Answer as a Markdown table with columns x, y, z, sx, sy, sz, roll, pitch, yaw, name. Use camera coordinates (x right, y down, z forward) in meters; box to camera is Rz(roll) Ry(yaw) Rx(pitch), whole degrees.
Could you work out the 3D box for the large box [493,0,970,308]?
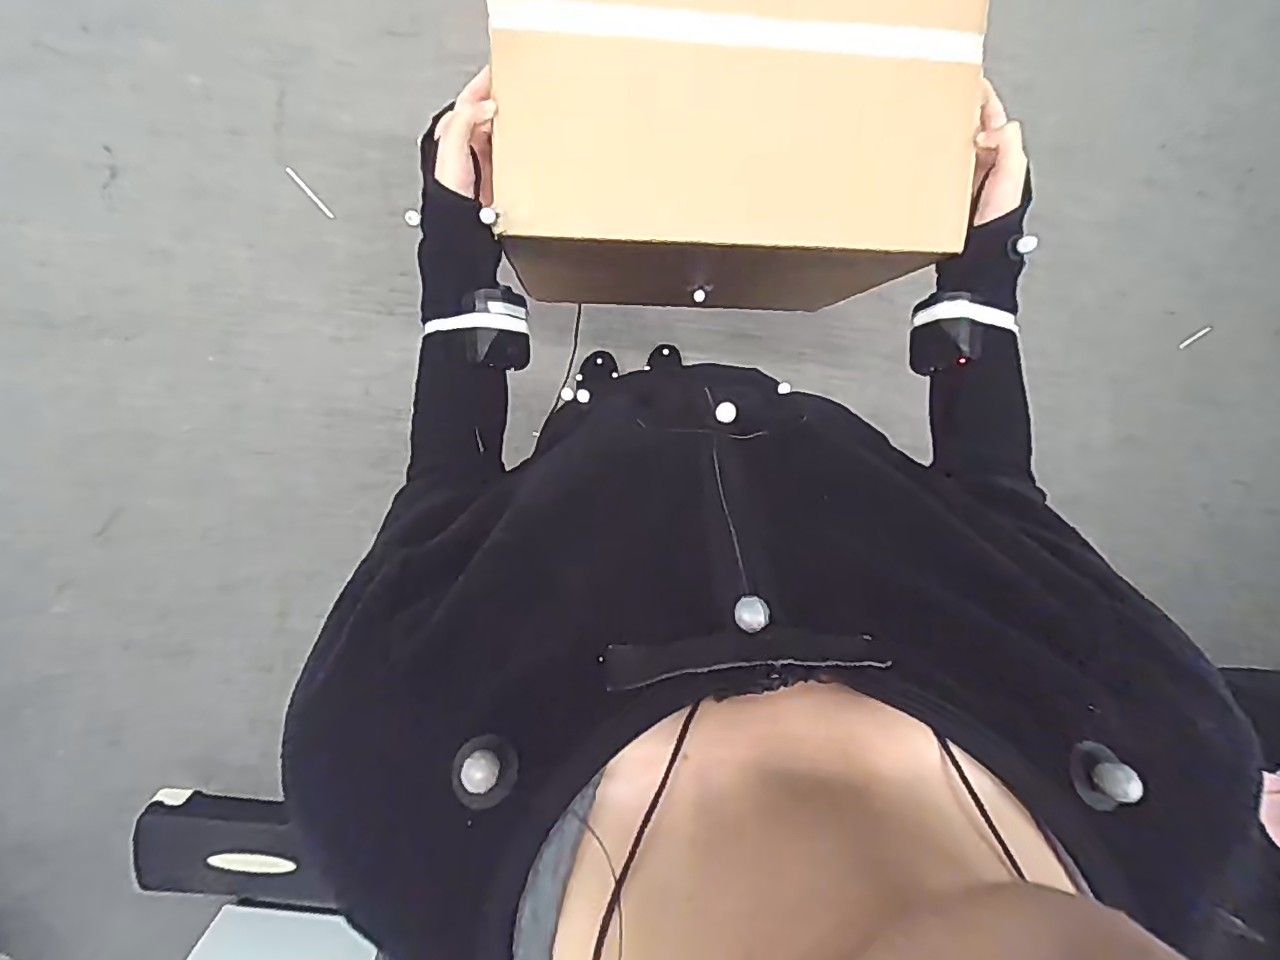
| x | y | z | sx | sy | sz | roll | pitch | yaw | name |
| --- | --- | --- | --- | --- | --- | --- | --- | --- | --- |
| 0.070 | -0.371 | 0.597 | 0.408 | 0.320 | 0.320 | 0 | 98 | -5 | large box |
